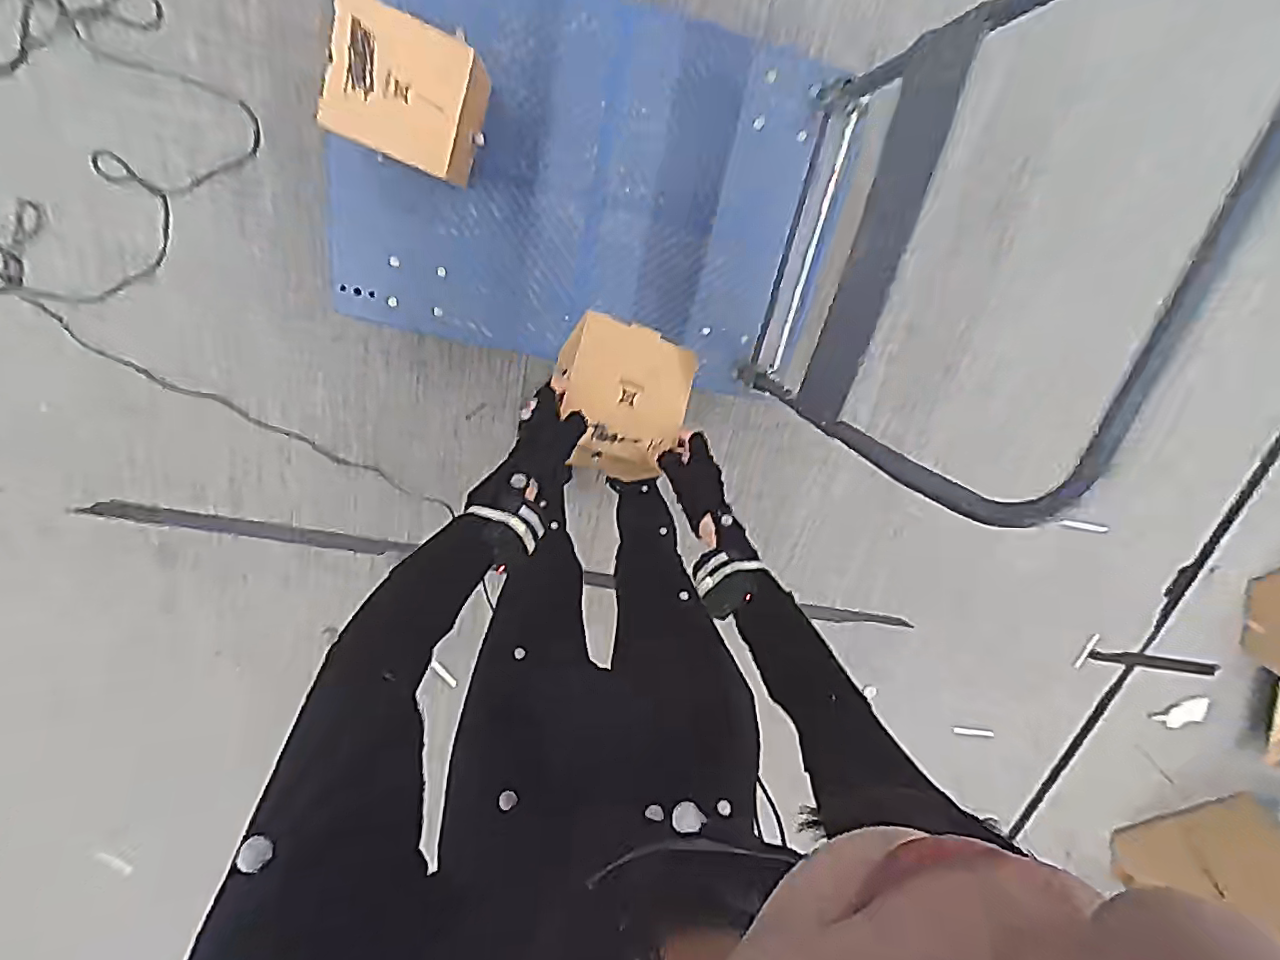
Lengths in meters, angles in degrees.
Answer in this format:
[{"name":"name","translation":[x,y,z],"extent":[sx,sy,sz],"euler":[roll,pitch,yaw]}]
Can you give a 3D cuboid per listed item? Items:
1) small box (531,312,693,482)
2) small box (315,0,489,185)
[{"name":"small box","translation":[-0.048,-0.105,0.775],"extent":[0.168,0.176,0.179],"euler":[18,80,-18]},{"name":"small box","translation":[-0.340,-0.560,0.801],"extent":[0.179,0.176,0.168],"euler":[18,110,-15]}]
